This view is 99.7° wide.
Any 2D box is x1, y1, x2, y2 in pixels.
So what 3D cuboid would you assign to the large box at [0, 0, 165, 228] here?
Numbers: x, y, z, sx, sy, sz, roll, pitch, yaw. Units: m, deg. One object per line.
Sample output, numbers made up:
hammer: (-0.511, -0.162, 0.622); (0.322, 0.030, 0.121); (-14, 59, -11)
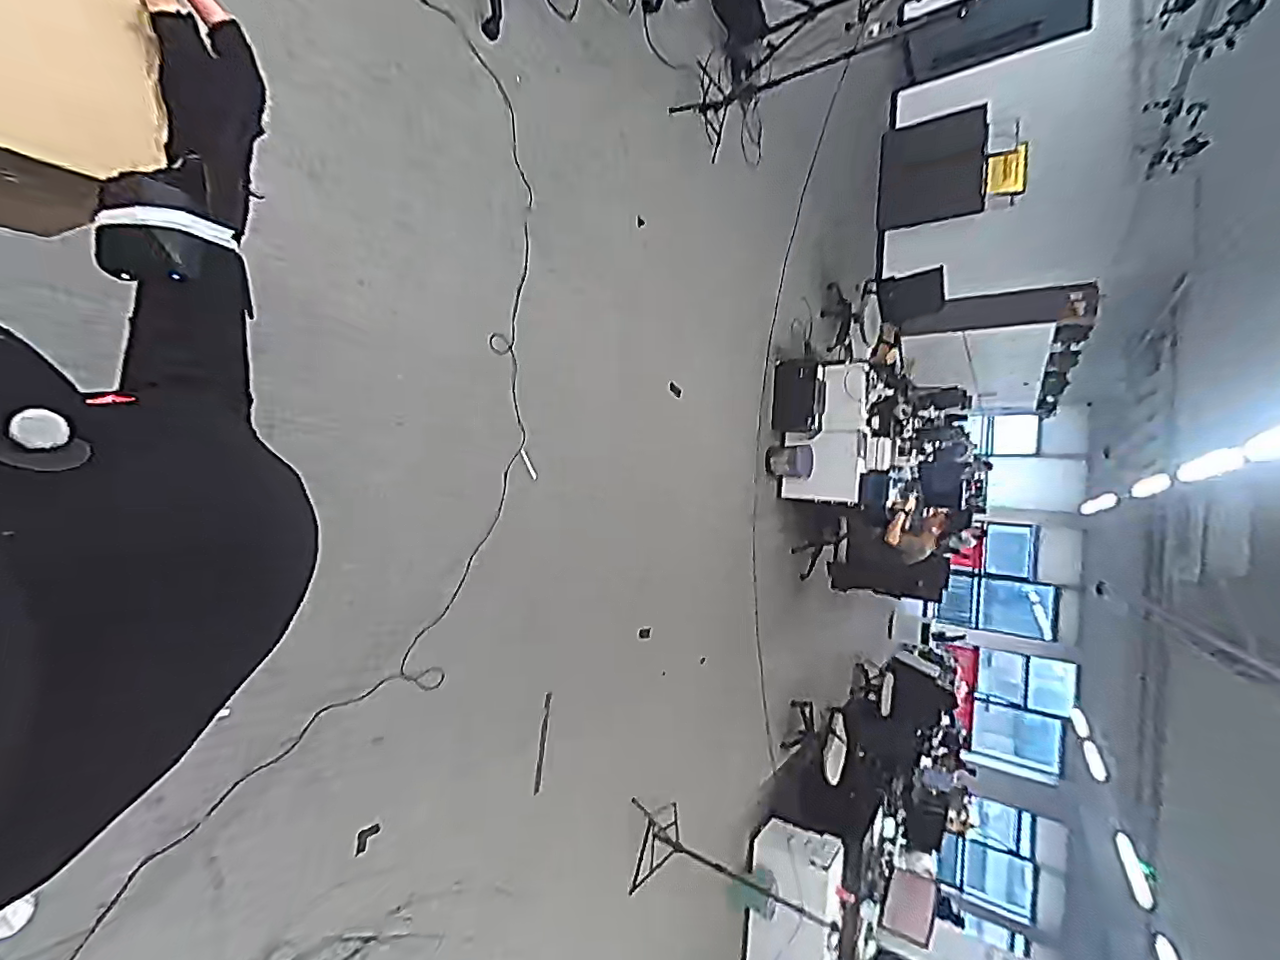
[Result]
large box: (-0.579, -0.380, 0.302); (0.408, 0.320, 0.320); (-3, 102, -59)
